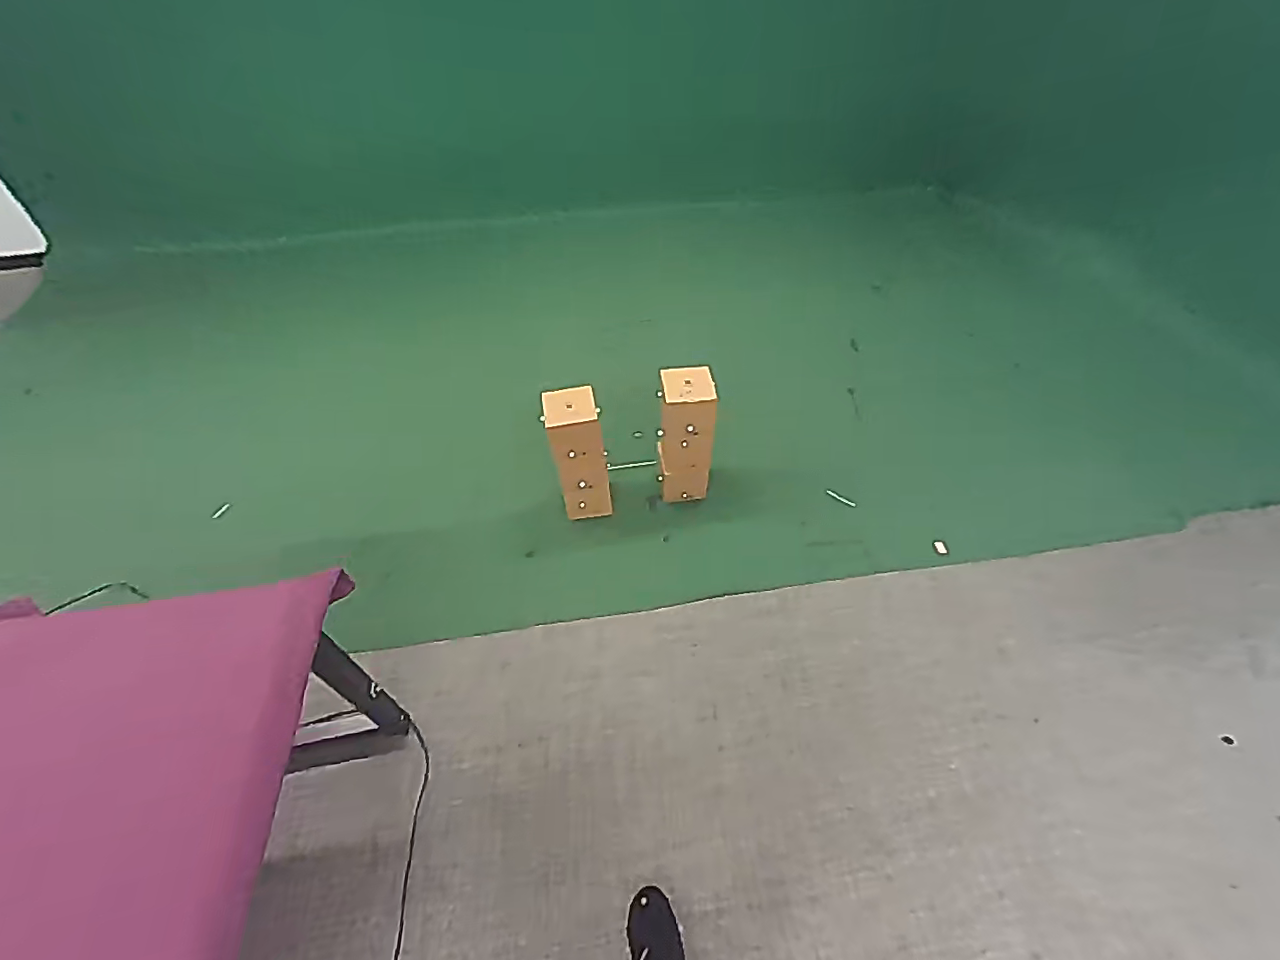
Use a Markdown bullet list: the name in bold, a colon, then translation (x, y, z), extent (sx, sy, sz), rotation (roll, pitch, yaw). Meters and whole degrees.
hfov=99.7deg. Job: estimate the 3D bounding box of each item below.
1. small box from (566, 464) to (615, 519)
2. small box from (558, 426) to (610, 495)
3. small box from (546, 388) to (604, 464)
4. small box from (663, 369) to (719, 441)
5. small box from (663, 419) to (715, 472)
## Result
- **small box**: translation (-0.189, 0.032, 2.031), extent (0.168, 0.176, 0.179), rotation (-7, 48, -4)
- **small box**: translation (-0.201, -0.071, 1.904), extent (0.168, 0.176, 0.179), rotation (-9, 49, -5)
- **small box**: translation (-0.214, -0.177, 1.781), extent (0.168, 0.176, 0.179), rotation (-10, 48, -5)
- **small box**: translation (0.167, -0.254, 1.830), extent (0.168, 0.176, 0.179), rotation (-4, 49, -2)
- **small box**: translation (0.172, -0.149, 1.957), extent (0.168, 0.176, 0.179), rotation (-4, 48, -2)
